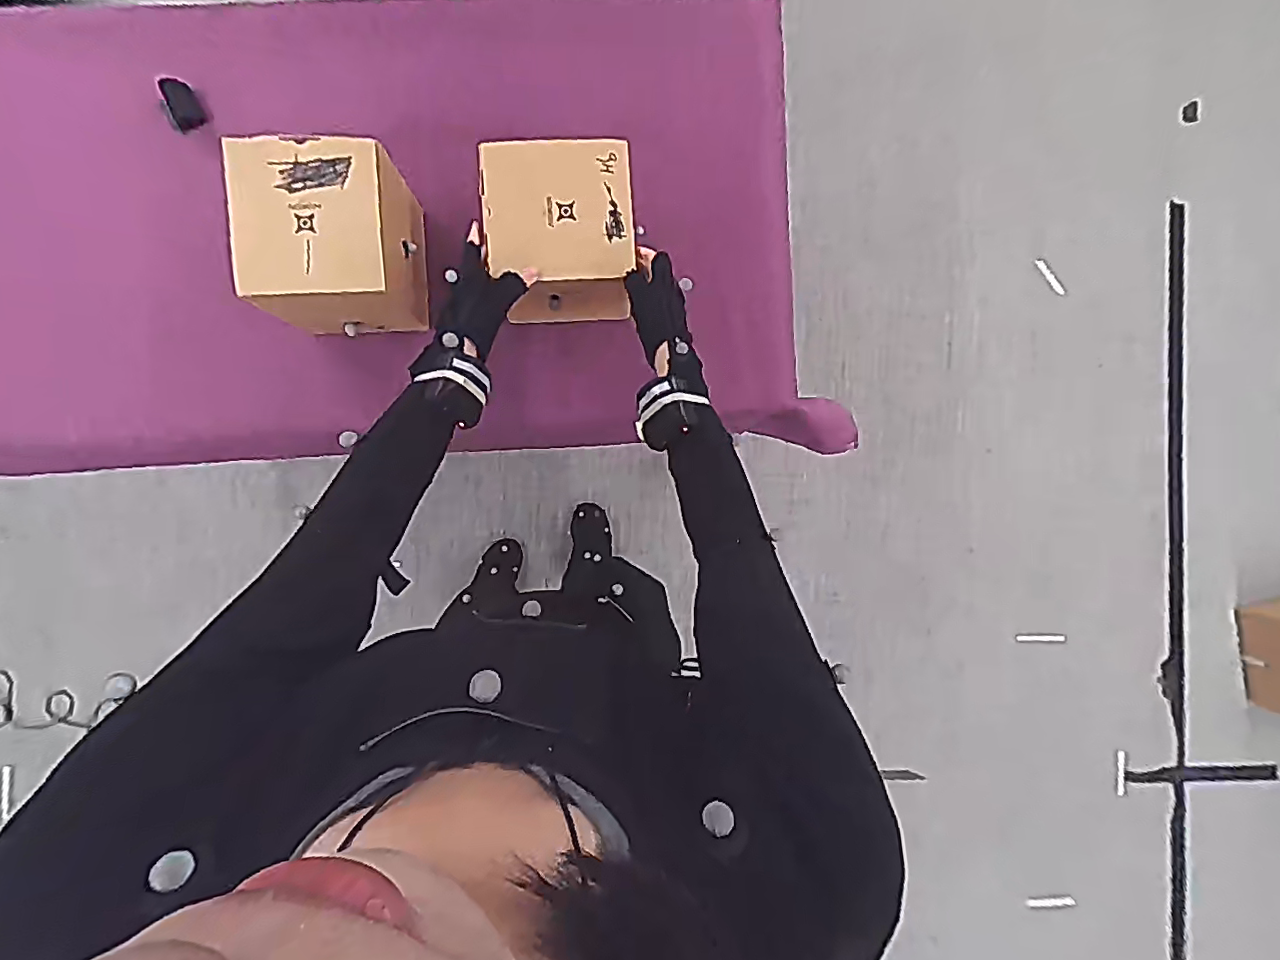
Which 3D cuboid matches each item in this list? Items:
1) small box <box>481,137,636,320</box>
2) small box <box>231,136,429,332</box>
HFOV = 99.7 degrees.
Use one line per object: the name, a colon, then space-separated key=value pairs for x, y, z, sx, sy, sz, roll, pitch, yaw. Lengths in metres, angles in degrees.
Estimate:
small box: x=-0.098 y=-0.316 z=0.710 sx=0.179 sy=0.176 sz=0.168 roll=-4 pitch=90 yaw=-4
small box: x=-0.377 y=-0.298 z=0.687 sx=0.168 sy=0.176 sz=0.179 roll=-3 pitch=91 yaw=-5
